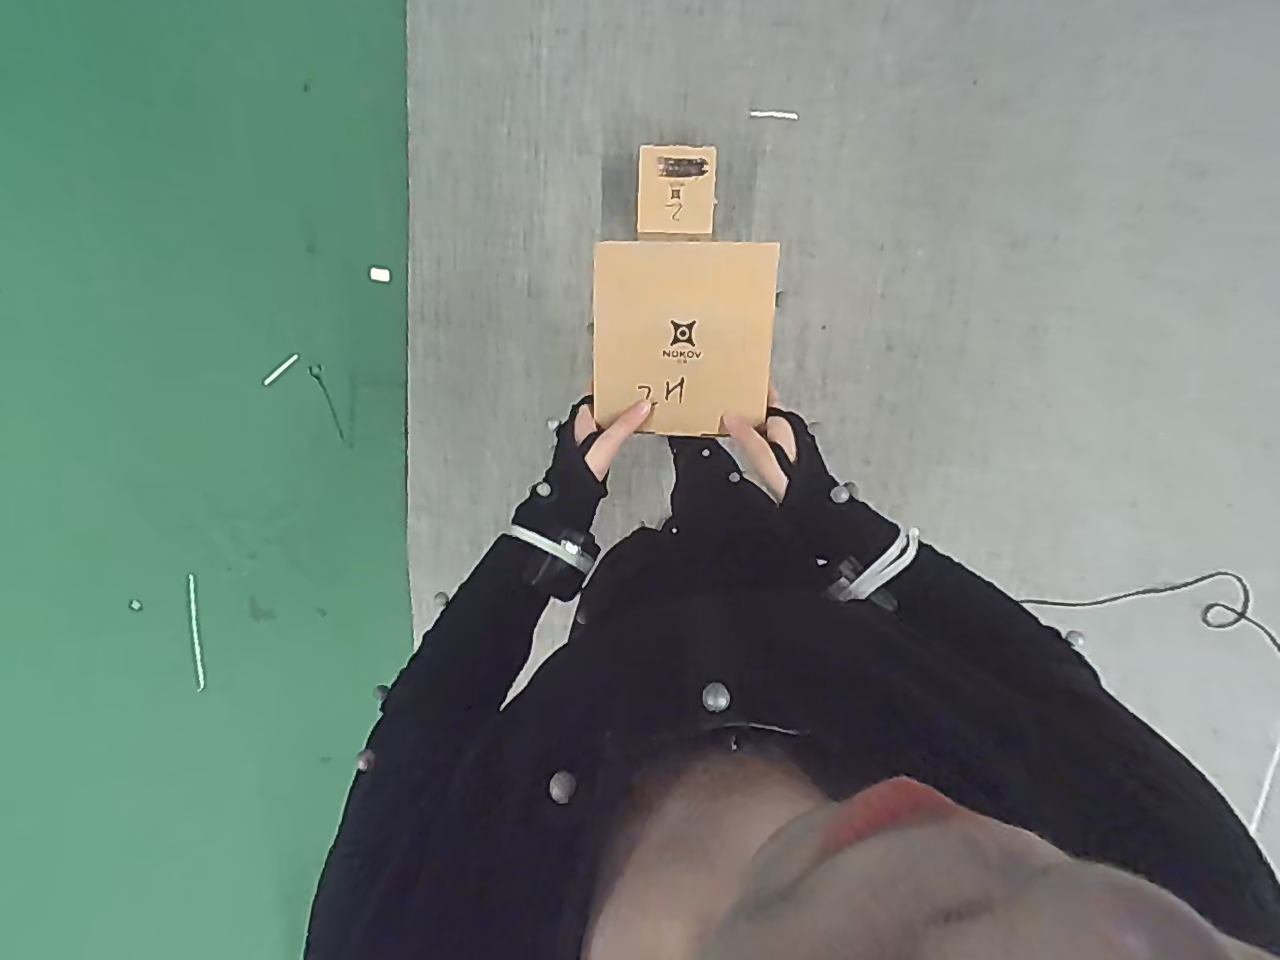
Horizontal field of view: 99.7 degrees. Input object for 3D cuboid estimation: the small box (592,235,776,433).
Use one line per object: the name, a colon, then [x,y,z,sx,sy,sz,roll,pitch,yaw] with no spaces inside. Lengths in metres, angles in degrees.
small box: [0.045,-0.154,0.584,0.168,0.176,0.179,4,106,6]
